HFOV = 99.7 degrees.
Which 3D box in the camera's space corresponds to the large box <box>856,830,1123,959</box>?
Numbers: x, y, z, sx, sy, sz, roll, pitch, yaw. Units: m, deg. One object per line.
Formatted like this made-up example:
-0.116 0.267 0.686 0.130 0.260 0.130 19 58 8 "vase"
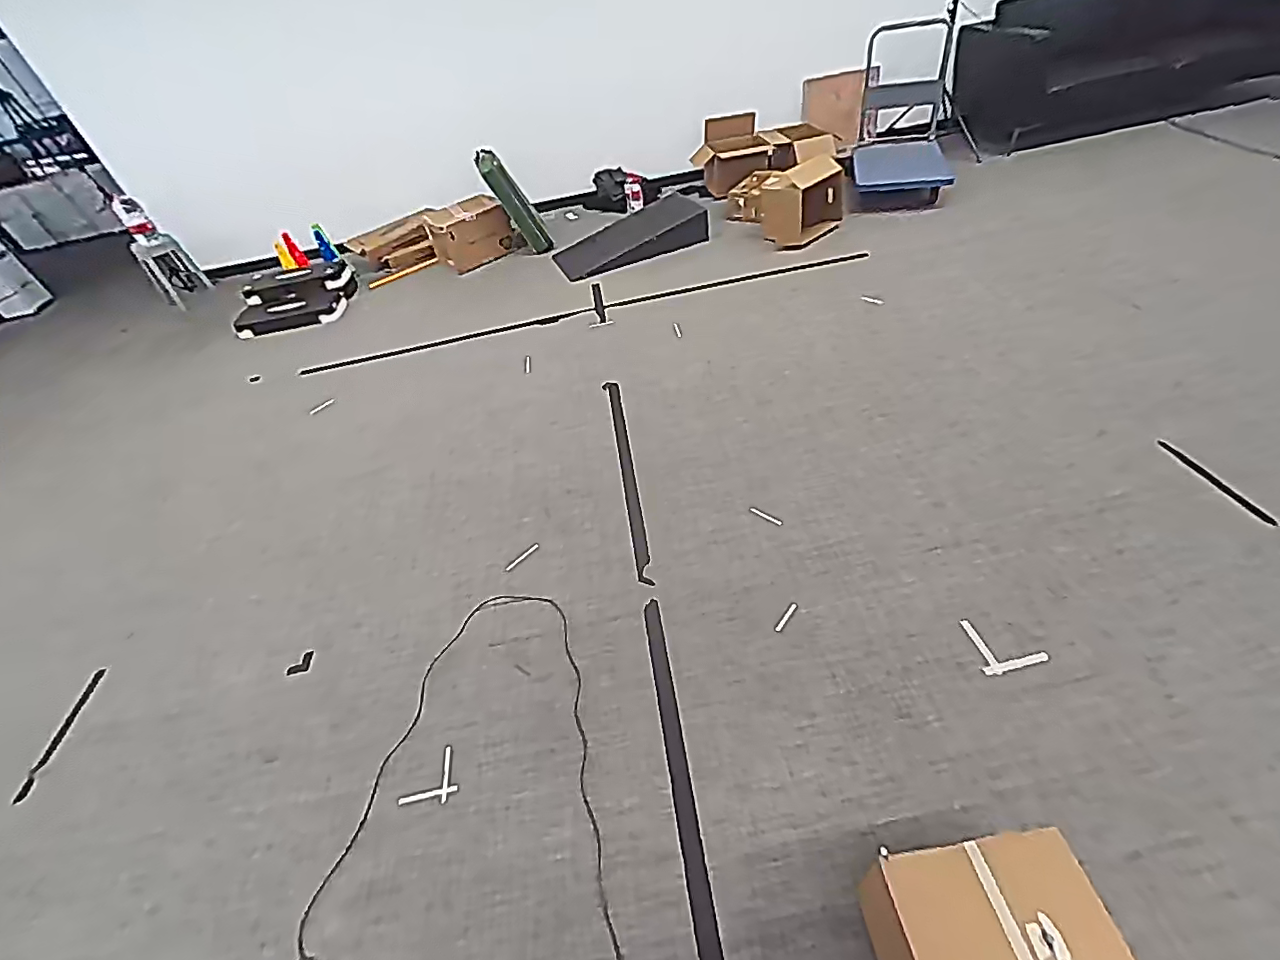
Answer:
0.603 0.876 0.897 0.320 0.320 0.408 -9 43 0 "large box"
